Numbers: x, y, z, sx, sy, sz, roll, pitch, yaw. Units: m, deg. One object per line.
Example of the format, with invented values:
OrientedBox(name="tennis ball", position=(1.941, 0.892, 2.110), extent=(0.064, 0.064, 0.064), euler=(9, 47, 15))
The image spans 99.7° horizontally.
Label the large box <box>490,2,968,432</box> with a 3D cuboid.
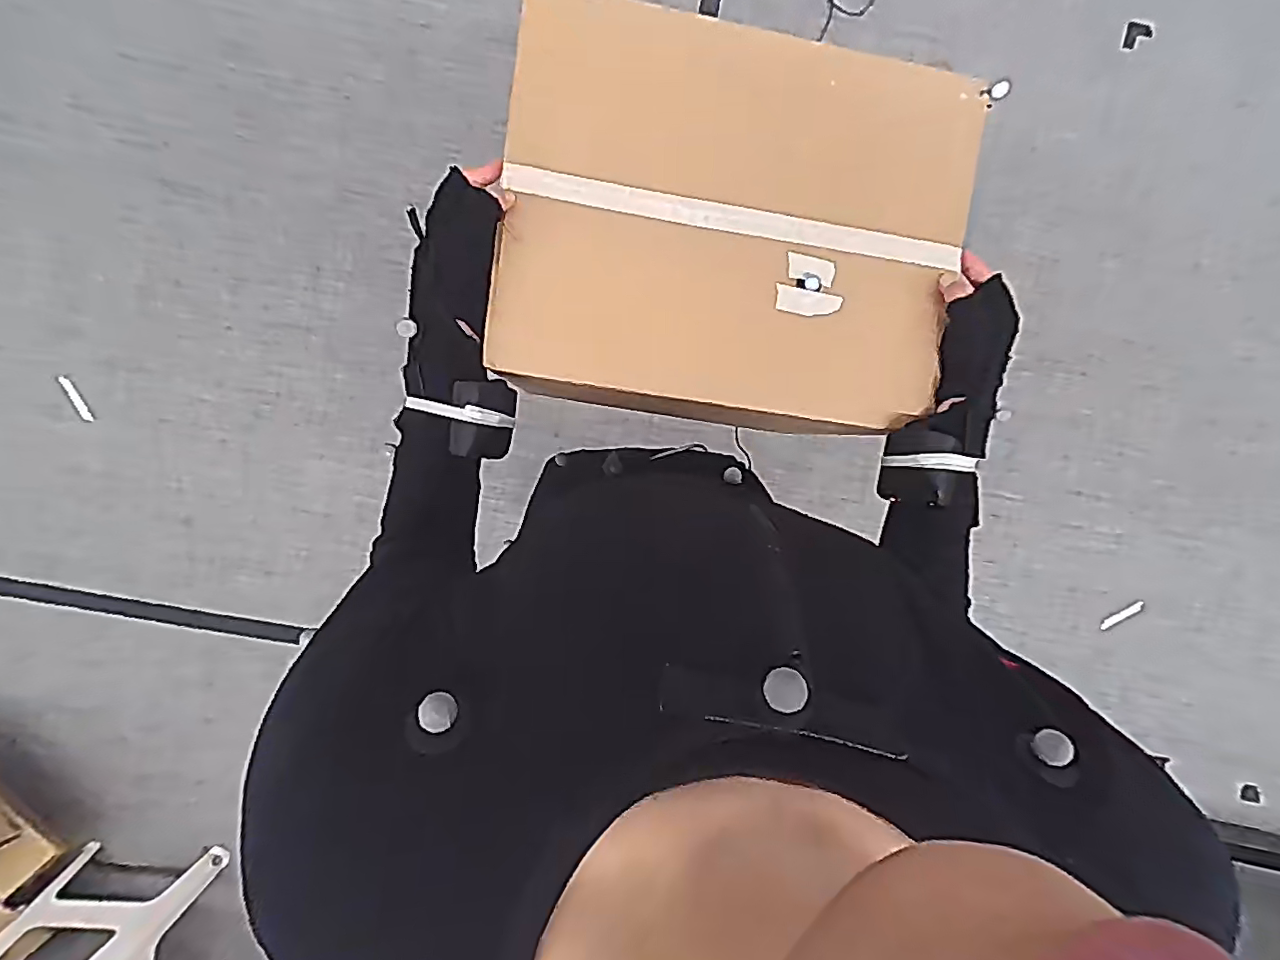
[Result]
OrientedBox(name="large box", position=(0.066, -0.233, 0.624), extent=(0.408, 0.320, 0.320), euler=(8, 96, -7))
